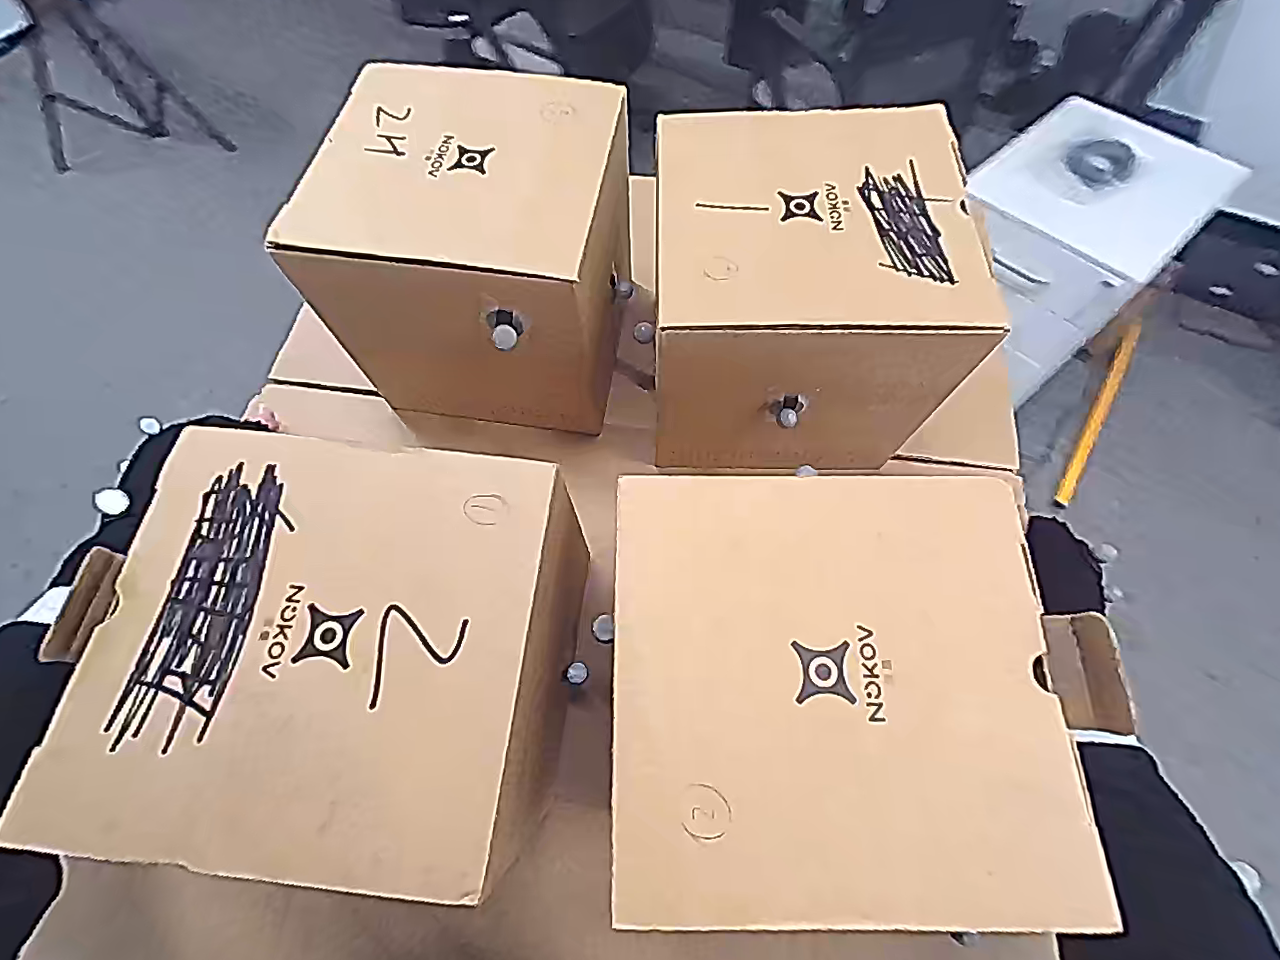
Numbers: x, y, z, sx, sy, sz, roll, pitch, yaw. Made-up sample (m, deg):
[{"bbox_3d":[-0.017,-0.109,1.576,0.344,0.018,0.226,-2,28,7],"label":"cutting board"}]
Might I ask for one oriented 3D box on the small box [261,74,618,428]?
[{"bbox_3d":[-0.114,-0.154,0.400,0.179,0.176,0.168,8,66,4],"label":"small box"}]
